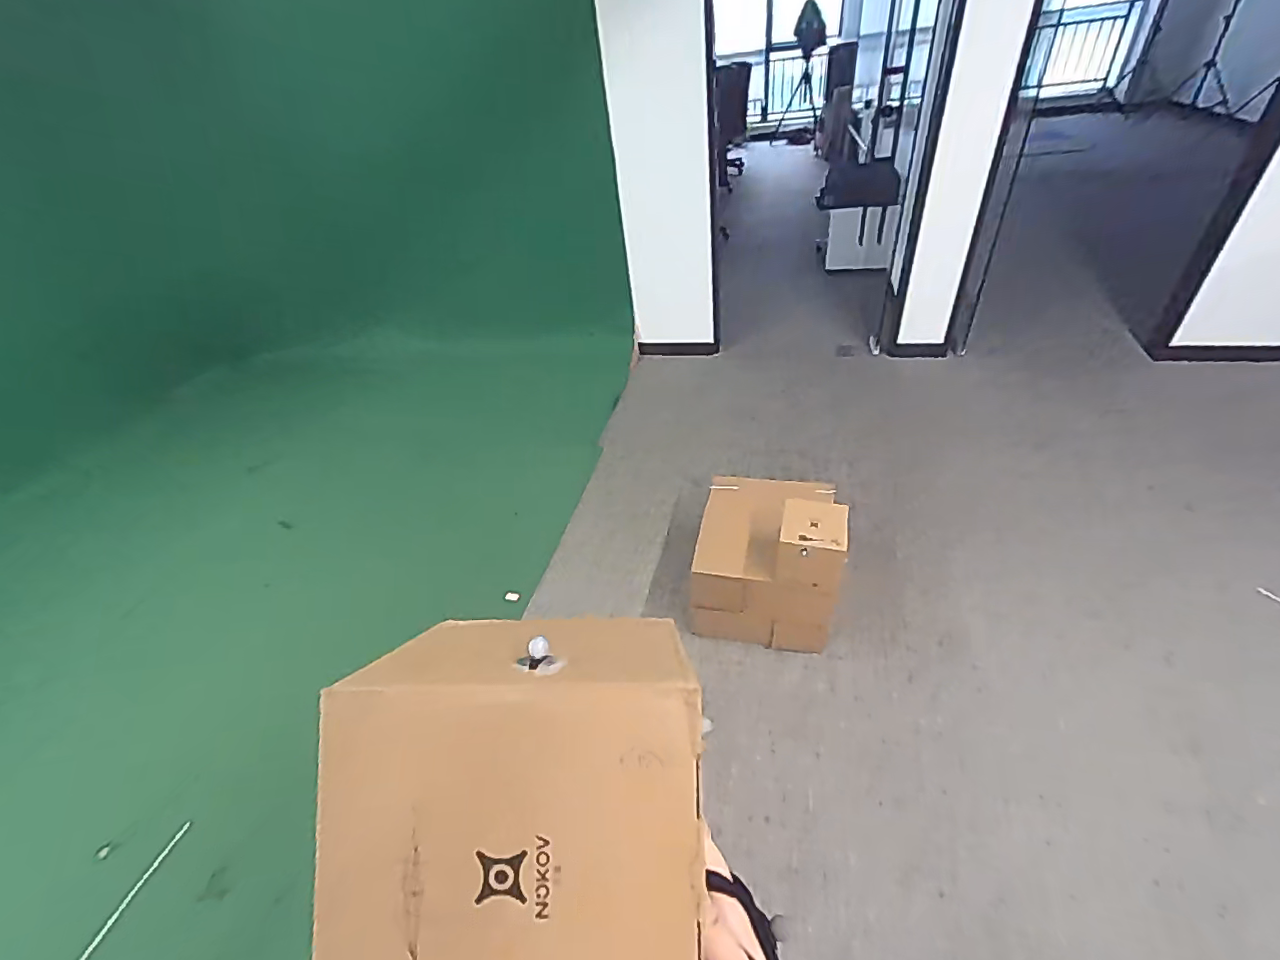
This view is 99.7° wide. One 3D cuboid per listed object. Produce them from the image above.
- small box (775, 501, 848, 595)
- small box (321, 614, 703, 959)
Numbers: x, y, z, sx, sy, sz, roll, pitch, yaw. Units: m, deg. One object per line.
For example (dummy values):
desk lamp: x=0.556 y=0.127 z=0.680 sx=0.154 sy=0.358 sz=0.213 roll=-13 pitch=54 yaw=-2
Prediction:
small box: x=0.463 y=0.183 z=1.470 sx=0.168 sy=0.176 sz=0.179 roll=7 pitch=40 yaw=17
small box: x=-0.060 y=0.179 z=0.331 sx=0.179 sy=0.168 sz=0.176 roll=1 pitch=-4 yaw=-1
